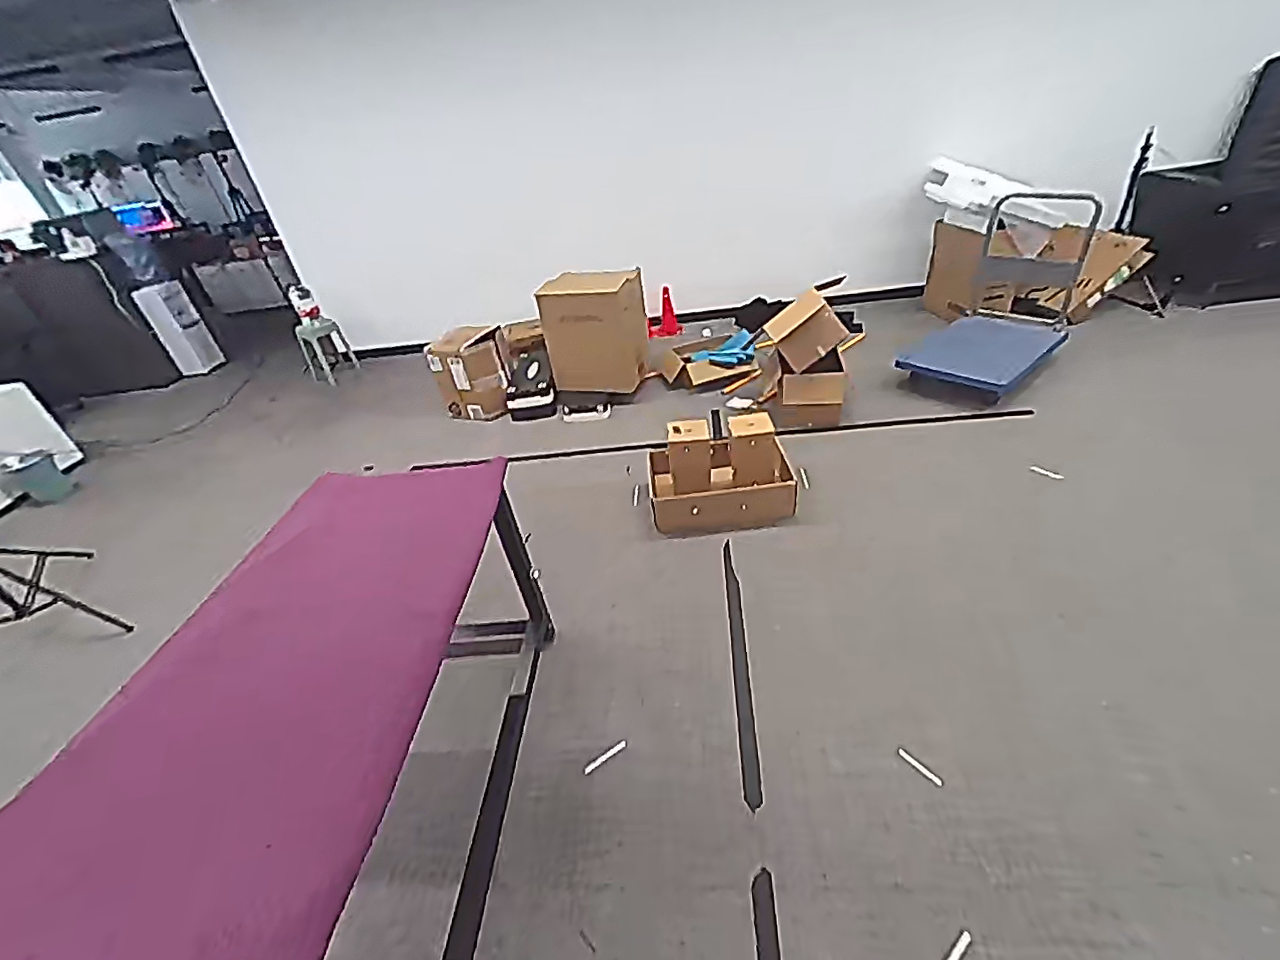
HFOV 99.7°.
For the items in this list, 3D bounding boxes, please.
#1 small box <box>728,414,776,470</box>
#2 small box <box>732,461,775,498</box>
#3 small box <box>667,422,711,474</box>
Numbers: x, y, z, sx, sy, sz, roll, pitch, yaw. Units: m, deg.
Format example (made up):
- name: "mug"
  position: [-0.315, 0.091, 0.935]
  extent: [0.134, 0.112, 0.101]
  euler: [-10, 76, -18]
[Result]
- name: "small box"
  position: [0.480, -0.160, 2.321]
  extent: [0.179, 0.176, 0.168]
  euler: [-8, 34, 4]
- name: "small box"
  position: [0.506, -0.029, 2.414]
  extent: [0.168, 0.176, 0.179]
  euler: [-7, 33, 4]
- name: "small box"
  position: [0.214, -0.136, 2.344]
  extent: [0.179, 0.176, 0.168]
  euler: [-4, 35, 3]
